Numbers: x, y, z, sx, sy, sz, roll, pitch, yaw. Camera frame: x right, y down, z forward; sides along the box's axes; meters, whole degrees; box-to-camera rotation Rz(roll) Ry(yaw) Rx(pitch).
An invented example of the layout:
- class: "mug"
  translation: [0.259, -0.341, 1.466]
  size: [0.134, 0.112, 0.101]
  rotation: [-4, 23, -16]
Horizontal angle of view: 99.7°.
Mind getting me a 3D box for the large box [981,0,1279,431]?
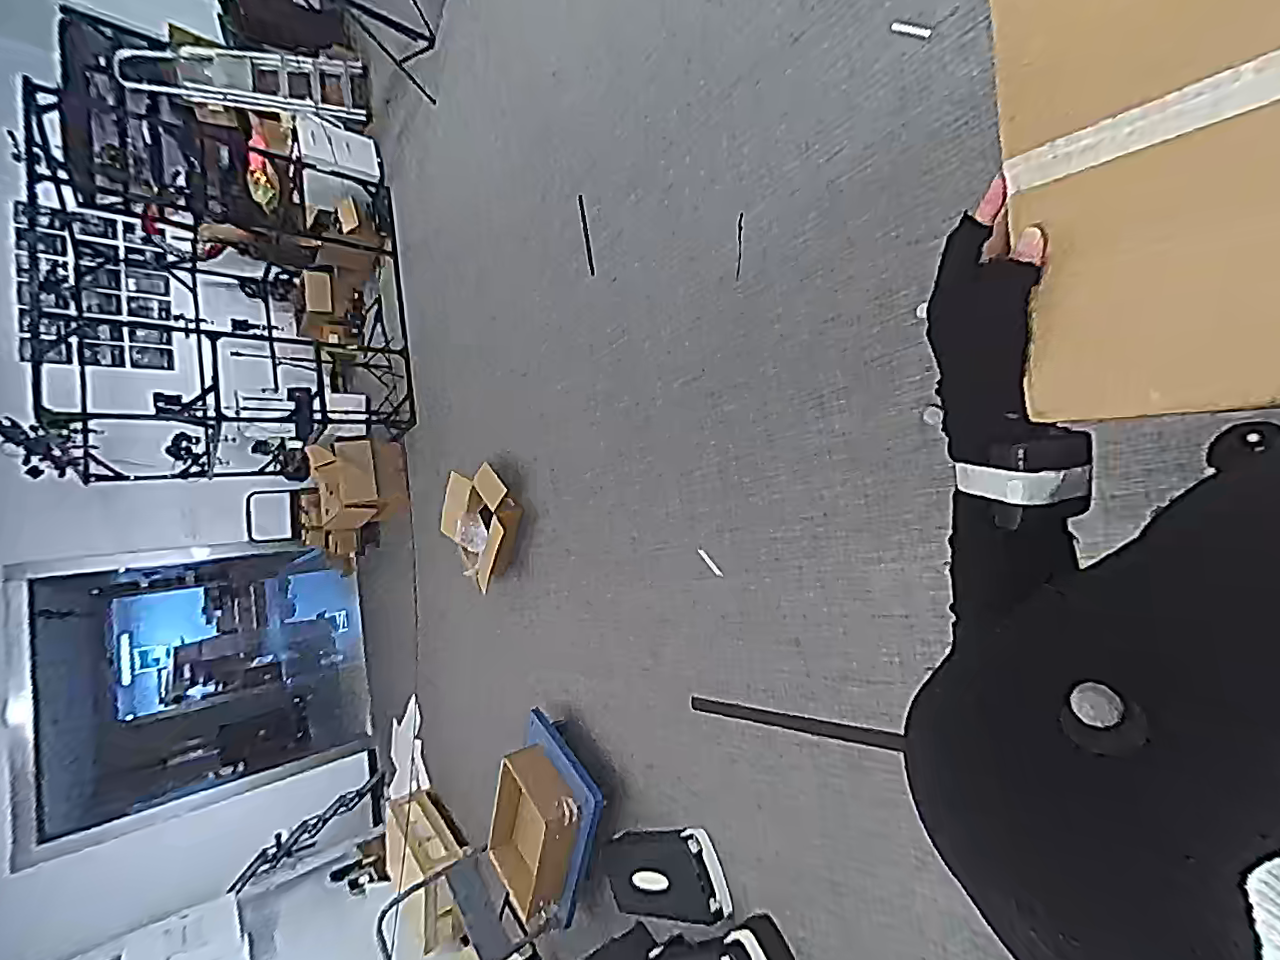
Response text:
- class: "large box"
  translation: [0.473, -0.220, 0.282]
  size: [0.408, 0.320, 0.320]
  rotation: [0, 102, 53]
